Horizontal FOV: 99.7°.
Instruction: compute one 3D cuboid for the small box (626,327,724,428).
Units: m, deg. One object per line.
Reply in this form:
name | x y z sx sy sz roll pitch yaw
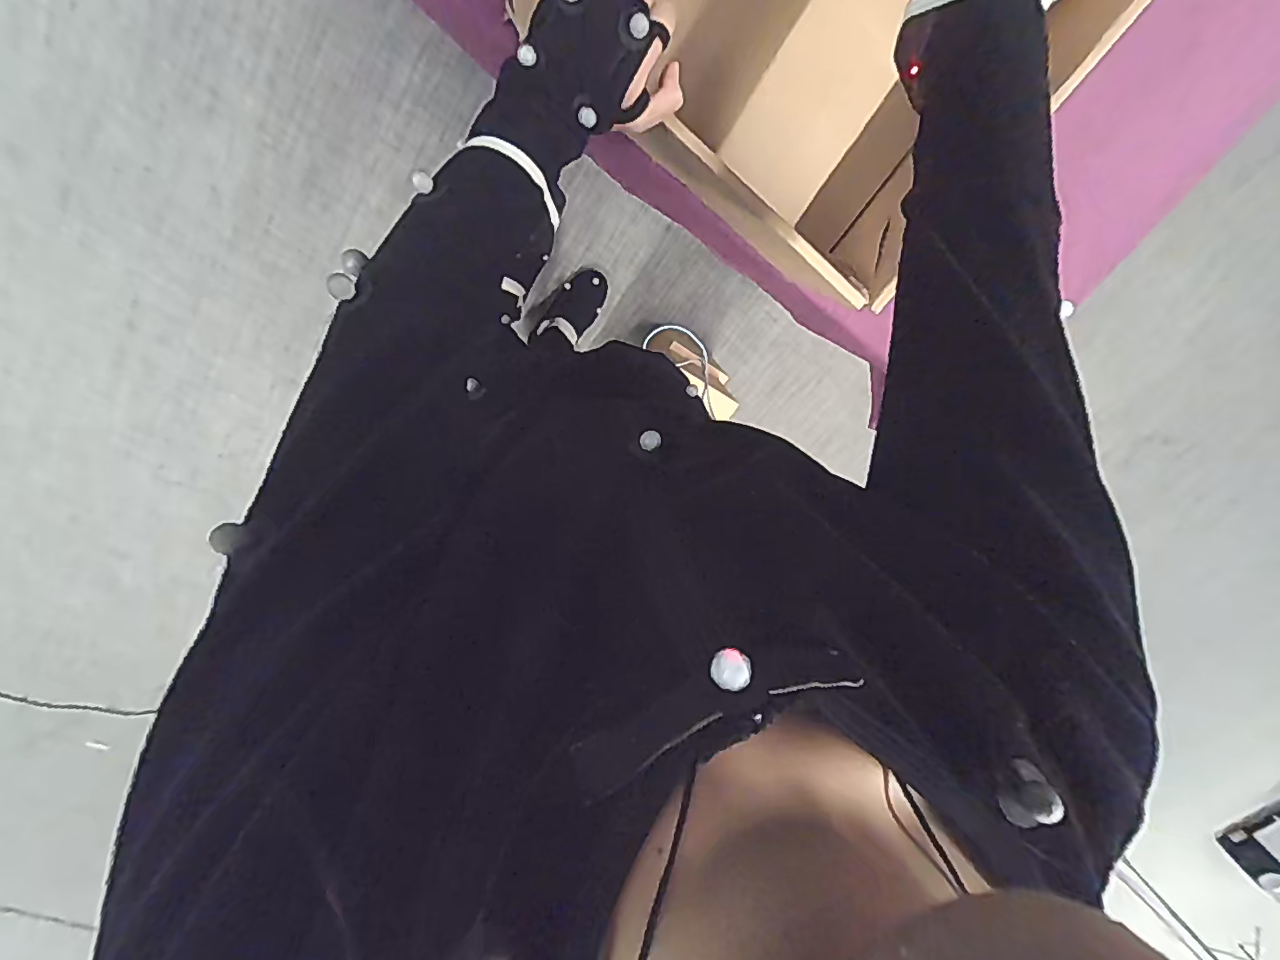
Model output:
small box | 0.083 -0.270 1.395 0.179 0.176 0.168 28 112 -22
